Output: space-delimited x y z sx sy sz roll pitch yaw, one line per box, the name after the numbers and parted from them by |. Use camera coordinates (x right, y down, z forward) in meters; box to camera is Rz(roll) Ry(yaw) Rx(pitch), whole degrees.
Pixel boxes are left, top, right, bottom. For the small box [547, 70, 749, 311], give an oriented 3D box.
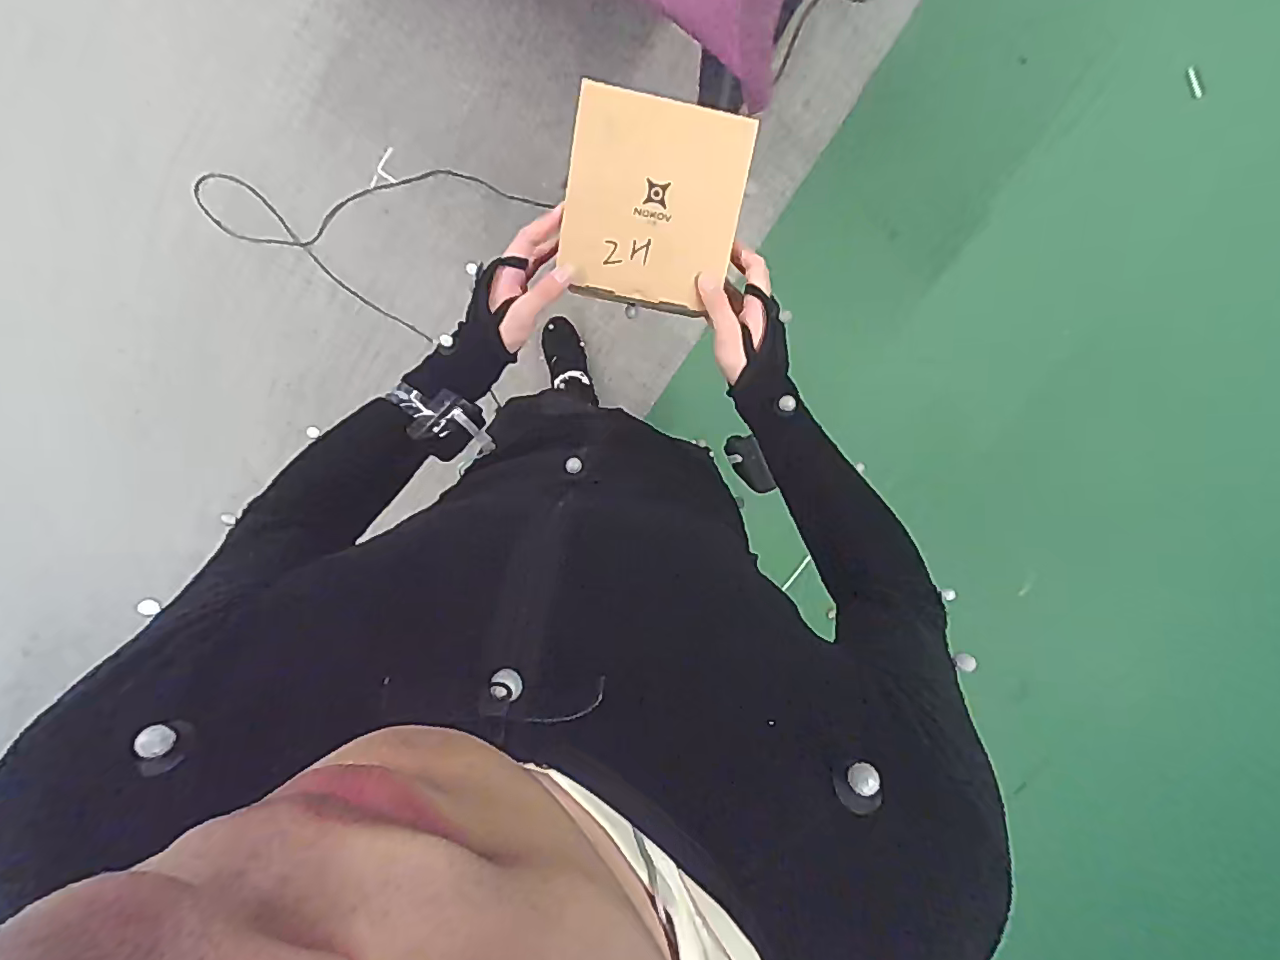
0.002 -0.289 0.584 0.168 0.176 0.179 10 106 -5 | small box
